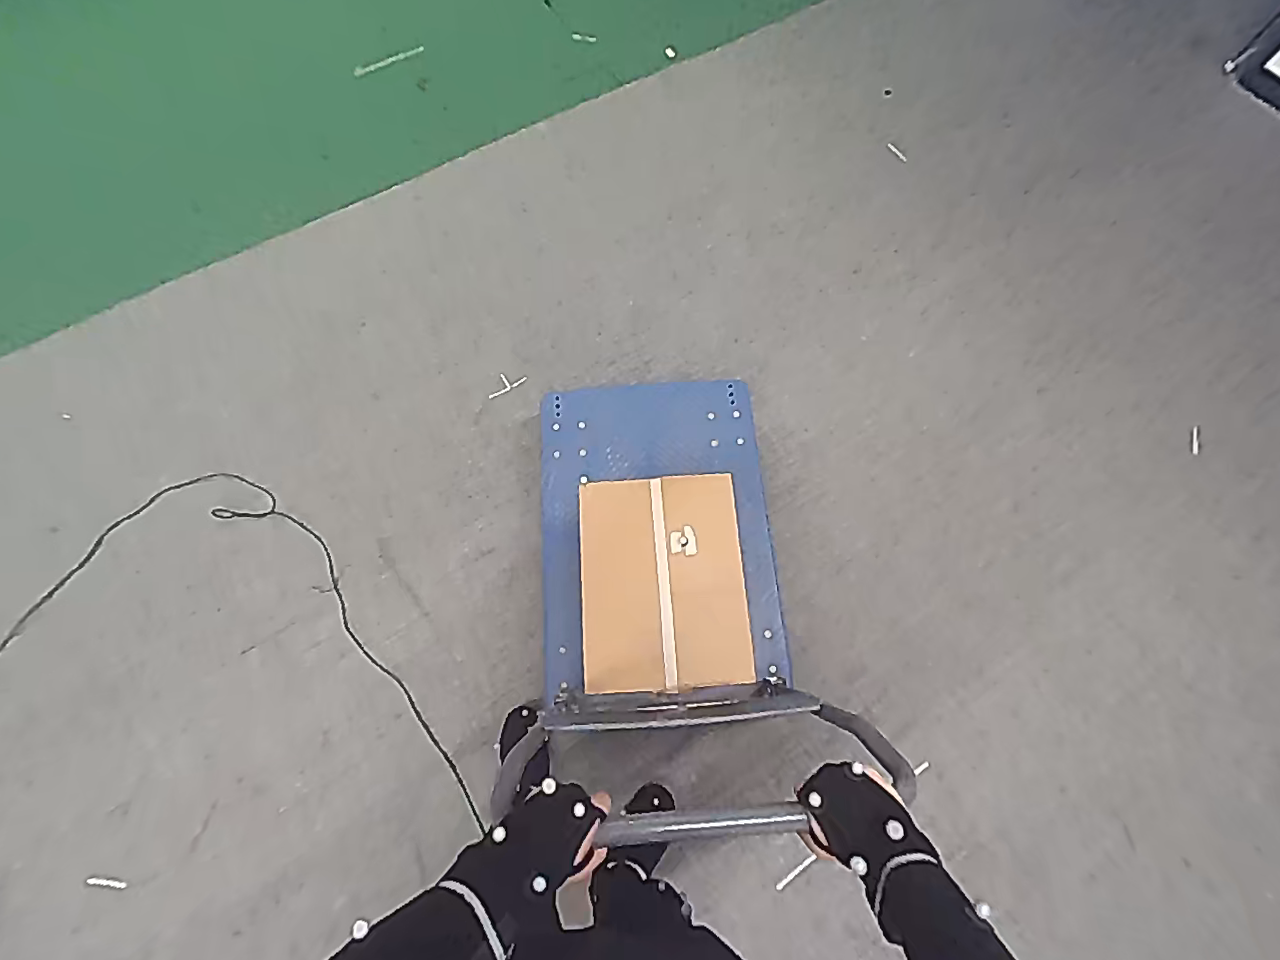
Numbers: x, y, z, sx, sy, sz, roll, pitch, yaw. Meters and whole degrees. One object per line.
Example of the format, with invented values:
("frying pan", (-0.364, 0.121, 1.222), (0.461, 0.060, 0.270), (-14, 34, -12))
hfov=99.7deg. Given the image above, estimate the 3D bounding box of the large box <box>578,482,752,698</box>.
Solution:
("large box", (0.044, 0.252, 1.197), (0.320, 0.320, 0.408), (-4, 70, -1))
